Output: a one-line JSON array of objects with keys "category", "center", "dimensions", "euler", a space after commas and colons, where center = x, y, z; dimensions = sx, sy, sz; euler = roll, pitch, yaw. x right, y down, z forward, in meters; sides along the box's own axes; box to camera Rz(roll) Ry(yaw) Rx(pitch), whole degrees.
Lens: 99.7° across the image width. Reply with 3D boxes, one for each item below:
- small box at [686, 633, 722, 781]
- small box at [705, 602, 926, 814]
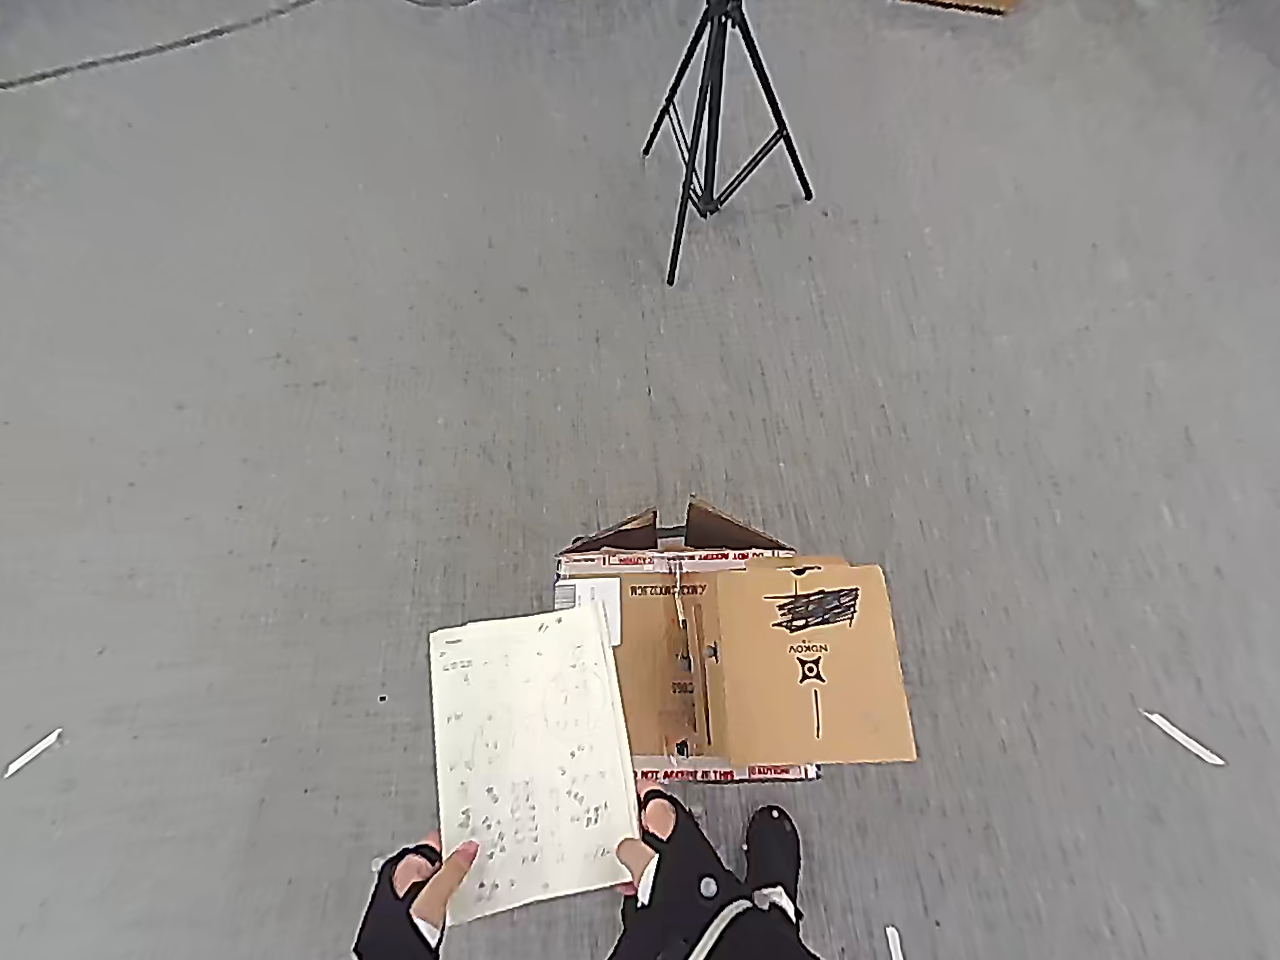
[{"category": "small box", "center": [0.160, 0.287, 0.715], "dimensions": [0.179, 0.176, 0.168], "euler": [-5, 69, 0]}, {"category": "small box", "center": [0.161, 0.228, 0.561], "dimensions": [0.168, 0.176, 0.179], "euler": [-2, 70, 0]}]
